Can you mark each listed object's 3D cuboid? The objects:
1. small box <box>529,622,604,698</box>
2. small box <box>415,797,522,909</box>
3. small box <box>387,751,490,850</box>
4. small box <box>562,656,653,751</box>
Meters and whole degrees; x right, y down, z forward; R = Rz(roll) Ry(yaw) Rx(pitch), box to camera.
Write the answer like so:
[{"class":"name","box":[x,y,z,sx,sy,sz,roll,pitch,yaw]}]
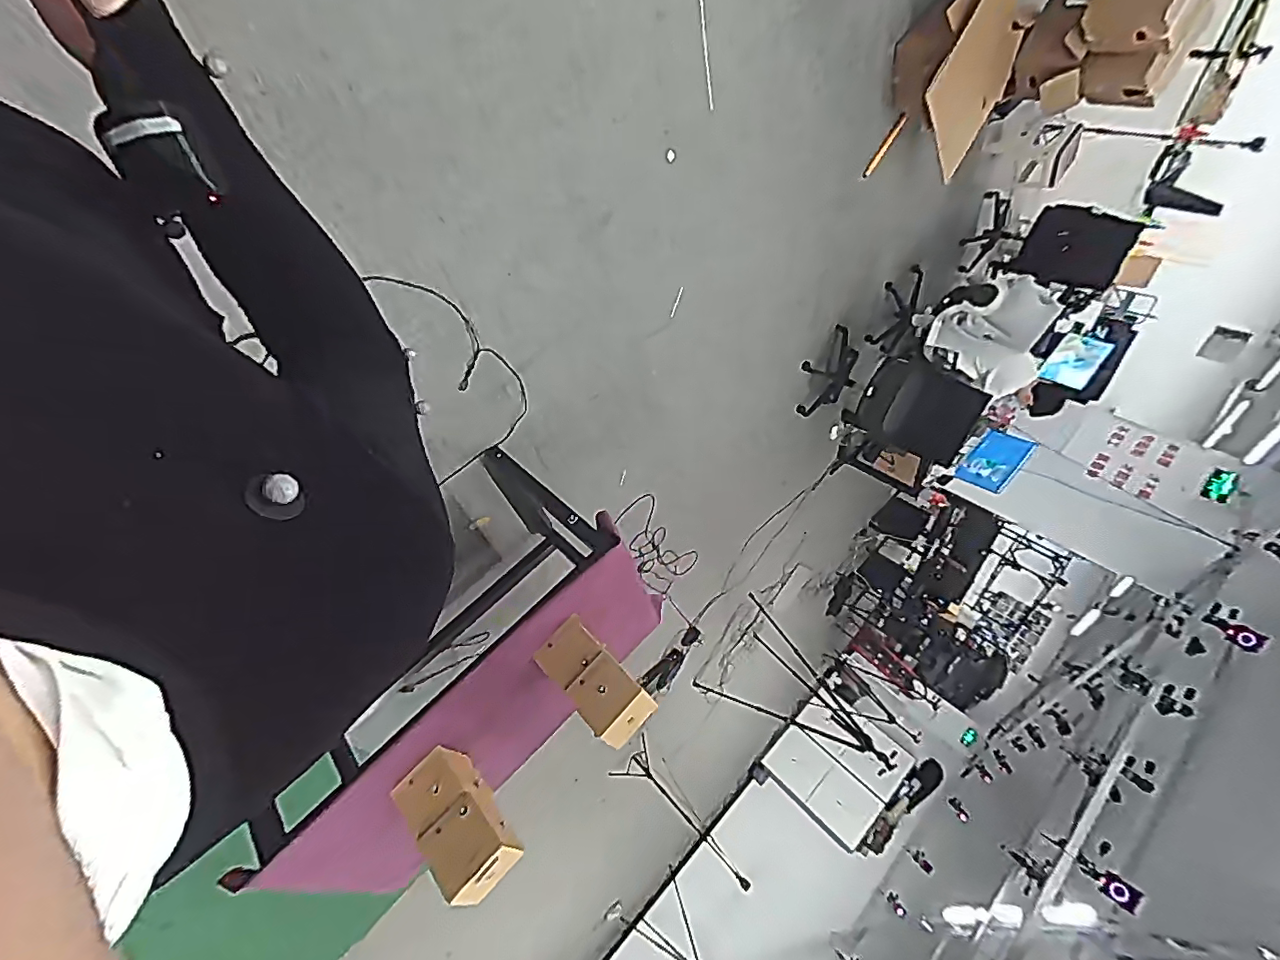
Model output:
[{"class":"small box","box":[-0.201,0.558,1.636,0.168,0.176,0.179,-46,146,-15]},{"class":"small box","box":[-0.438,0.948,1.381,0.168,0.176,0.179,-42,146,-20]},{"class":"small box","box":[-0.551,0.875,1.476,0.168,0.176,0.179,-44,146,-18]},{"class":"small box","box":[-0.093,0.628,1.531,0.168,0.176,0.179,-44,145,-15]}]
